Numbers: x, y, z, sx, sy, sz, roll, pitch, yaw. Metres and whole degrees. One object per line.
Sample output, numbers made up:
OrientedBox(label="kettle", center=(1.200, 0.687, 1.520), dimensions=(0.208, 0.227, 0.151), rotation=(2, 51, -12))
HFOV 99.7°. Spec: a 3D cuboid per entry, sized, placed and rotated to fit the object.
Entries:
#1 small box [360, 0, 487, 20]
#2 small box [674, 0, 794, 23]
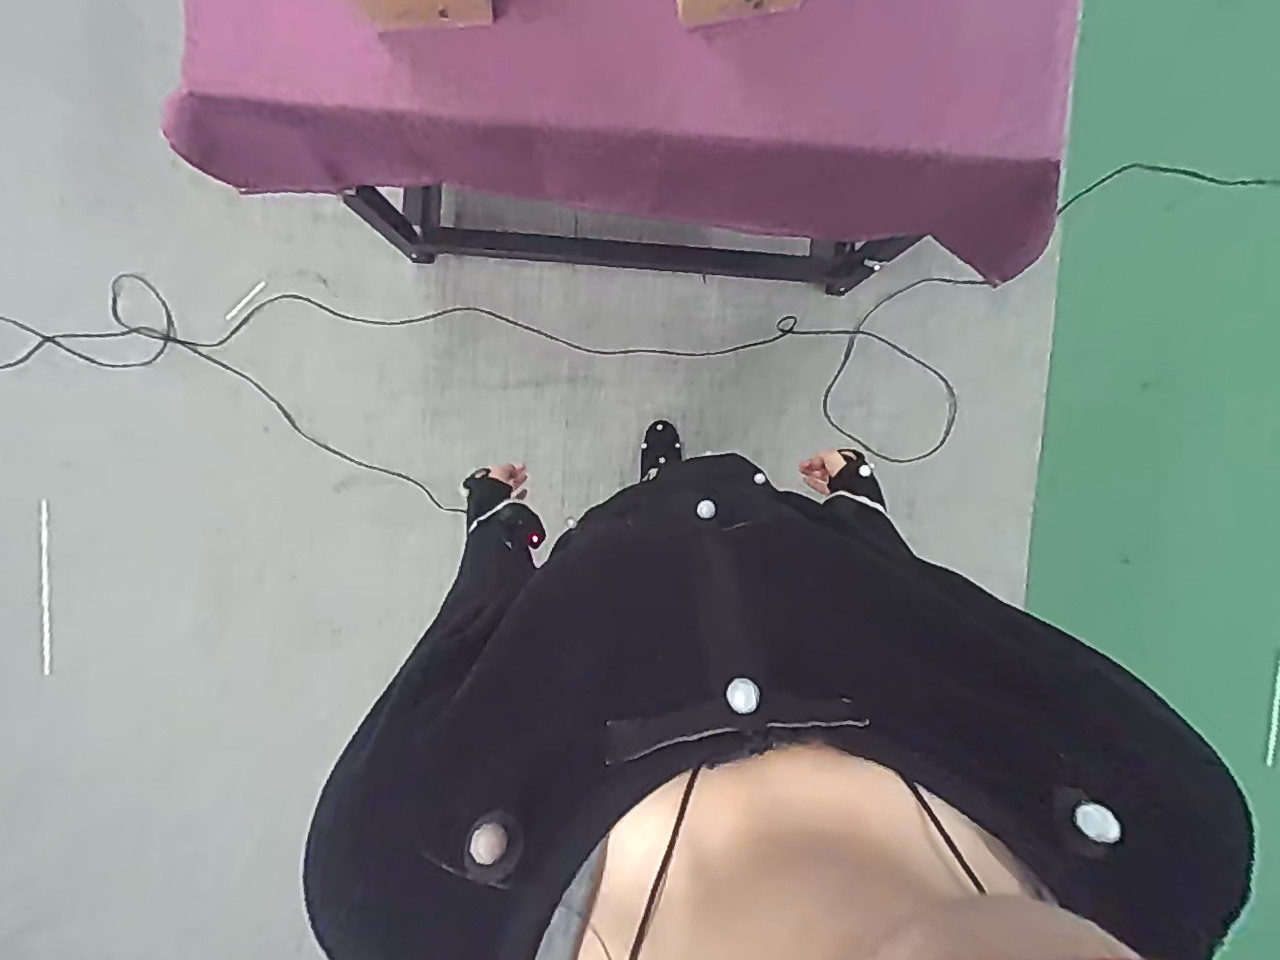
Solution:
OrientedBox(label="small box", center=(-0.286, -0.694, 0.643), dimensions=(0.168, 0.176, 0.179), rotation=(-3, 93, -2))
OrientedBox(label="small box", center=(0.120, -0.709, 0.648), dimensions=(0.168, 0.176, 0.179), rotation=(-8, 93, 0))
